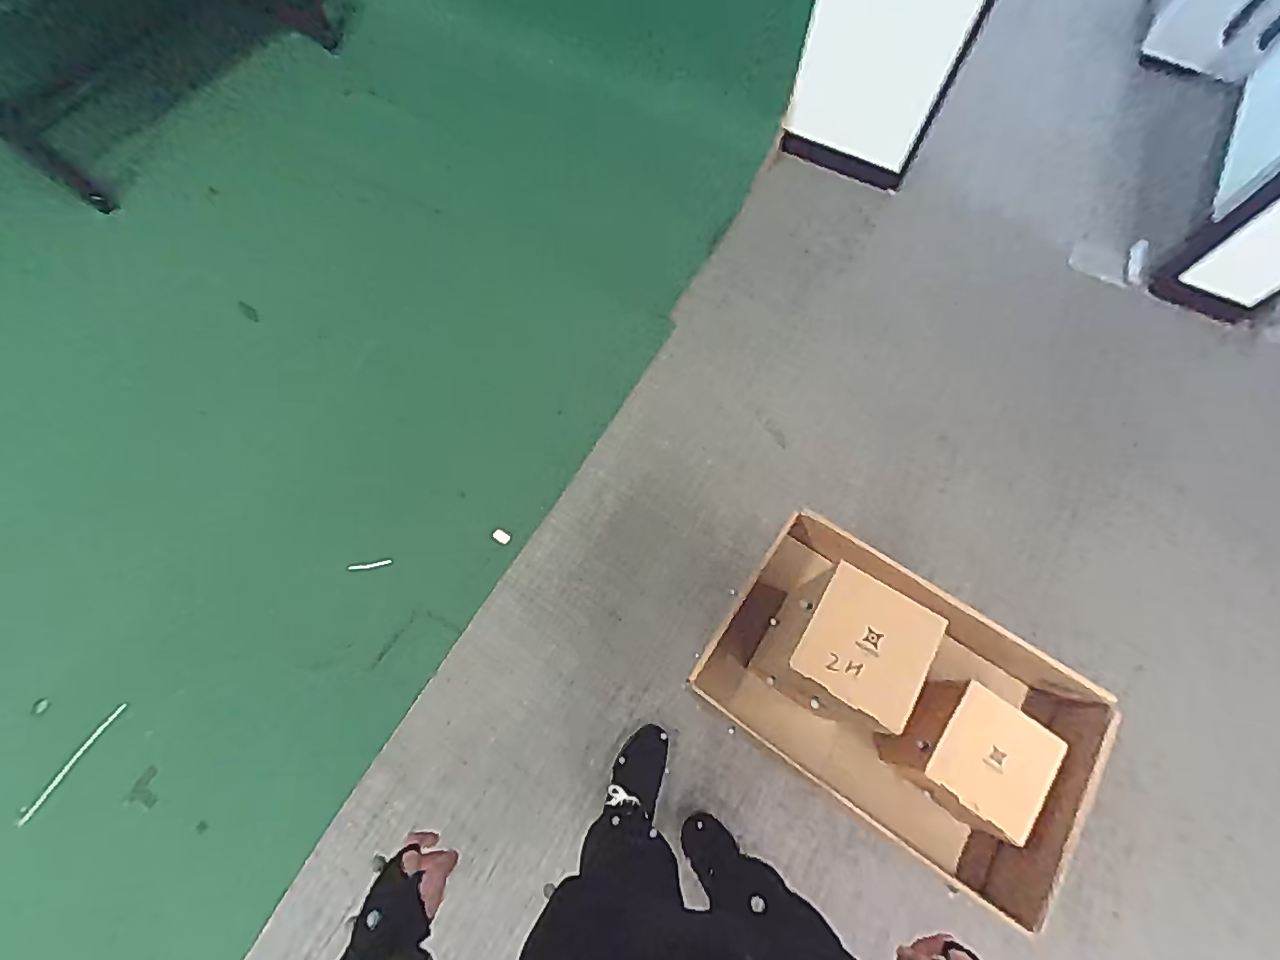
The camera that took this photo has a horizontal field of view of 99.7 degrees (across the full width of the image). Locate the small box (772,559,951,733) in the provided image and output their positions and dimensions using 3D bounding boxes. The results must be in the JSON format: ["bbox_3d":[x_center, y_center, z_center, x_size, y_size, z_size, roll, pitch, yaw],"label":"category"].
[{"bbox_3d":[0.319,0.249,0.814,0.168,0.176,0.179,31,73,12],"label":"small box"}]
